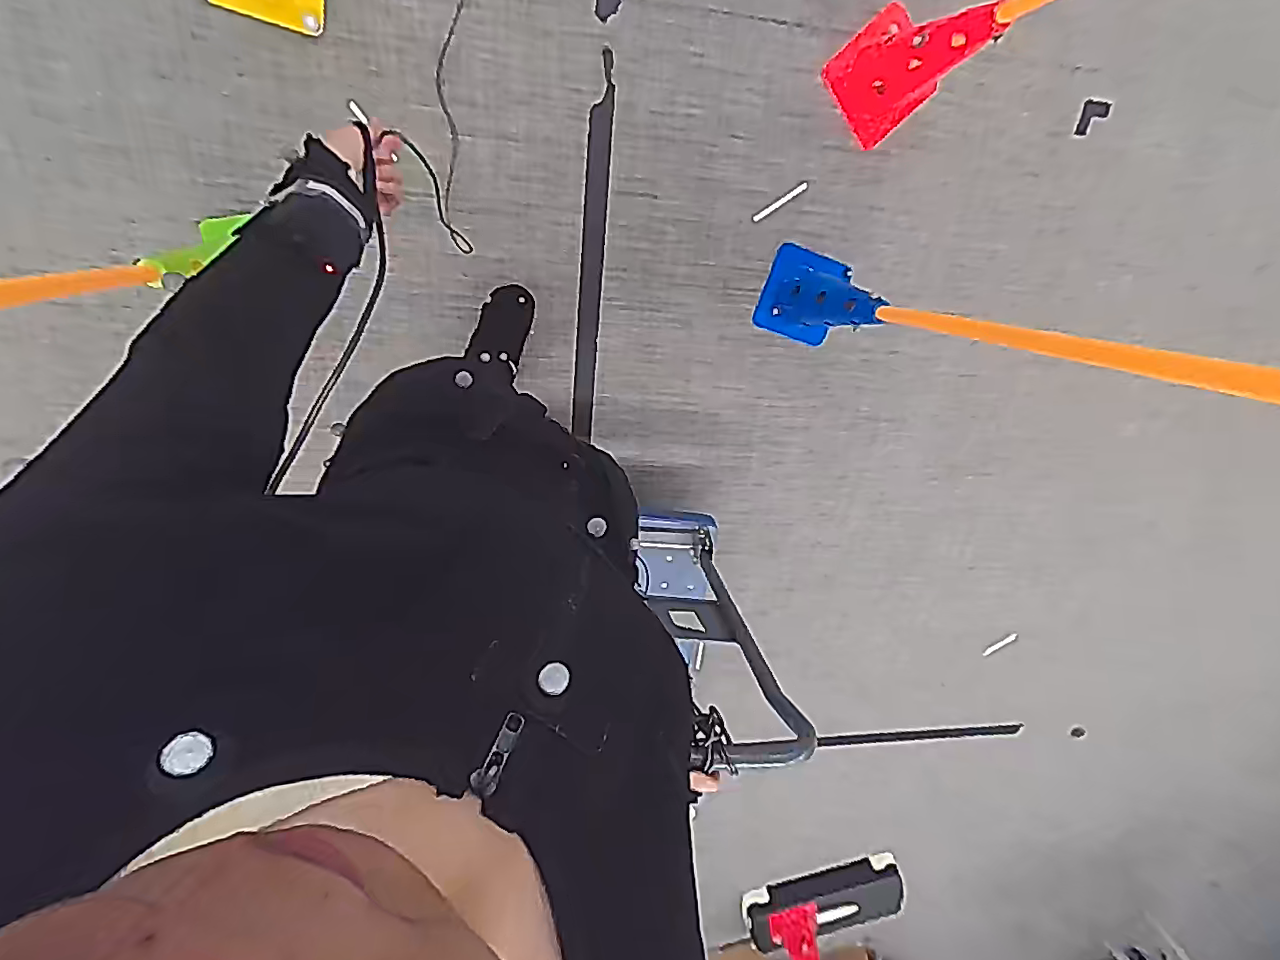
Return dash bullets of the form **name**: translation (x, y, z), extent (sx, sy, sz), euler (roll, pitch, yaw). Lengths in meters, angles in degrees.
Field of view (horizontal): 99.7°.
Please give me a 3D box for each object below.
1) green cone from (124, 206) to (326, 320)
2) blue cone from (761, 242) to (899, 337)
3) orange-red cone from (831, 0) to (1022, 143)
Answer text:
- **green cone**: translation (-0.748, -0.378, 0.951), extent (0.200, 0.368, 0.202), euler (-11, 113, -4)
- **blue cone**: translation (0.418, -0.389, 1.141), extent (0.193, 0.380, 0.192), euler (16, 109, -15)
- **orange-red cone**: translation (0.538, -0.783, 0.976), extent (0.199, 0.360, 0.198), euler (-39, 112, 10)
